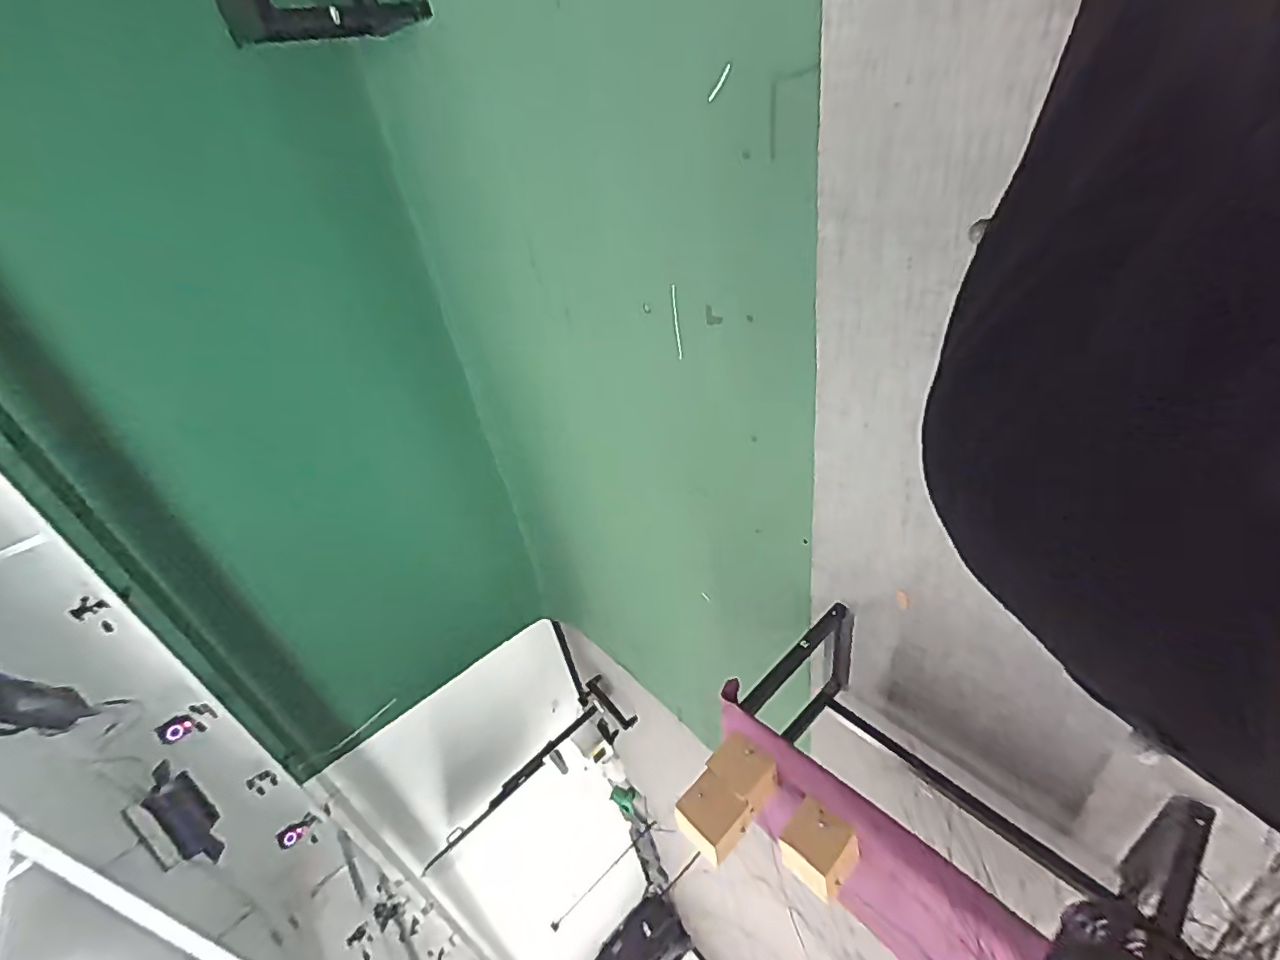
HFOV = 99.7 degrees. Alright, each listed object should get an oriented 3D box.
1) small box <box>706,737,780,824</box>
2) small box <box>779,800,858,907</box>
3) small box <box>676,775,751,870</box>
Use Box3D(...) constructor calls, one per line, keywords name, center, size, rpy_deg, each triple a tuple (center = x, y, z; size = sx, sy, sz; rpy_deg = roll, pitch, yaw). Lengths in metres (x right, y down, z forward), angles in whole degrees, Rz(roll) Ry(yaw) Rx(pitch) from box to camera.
Box3D(name="small box", center=(0.350, 1.011, 1.833), size=(0.179, 0.176, 0.168), rpy_deg=(23, 135, 45))
Box3D(name="small box", center=(0.548, 1.130, 1.645), size=(0.168, 0.176, 0.179), rpy_deg=(20, 134, 47))
Box3D(name="small box", center=(0.238, 1.096, 1.748), size=(0.179, 0.176, 0.168), rpy_deg=(28, 139, 40))
